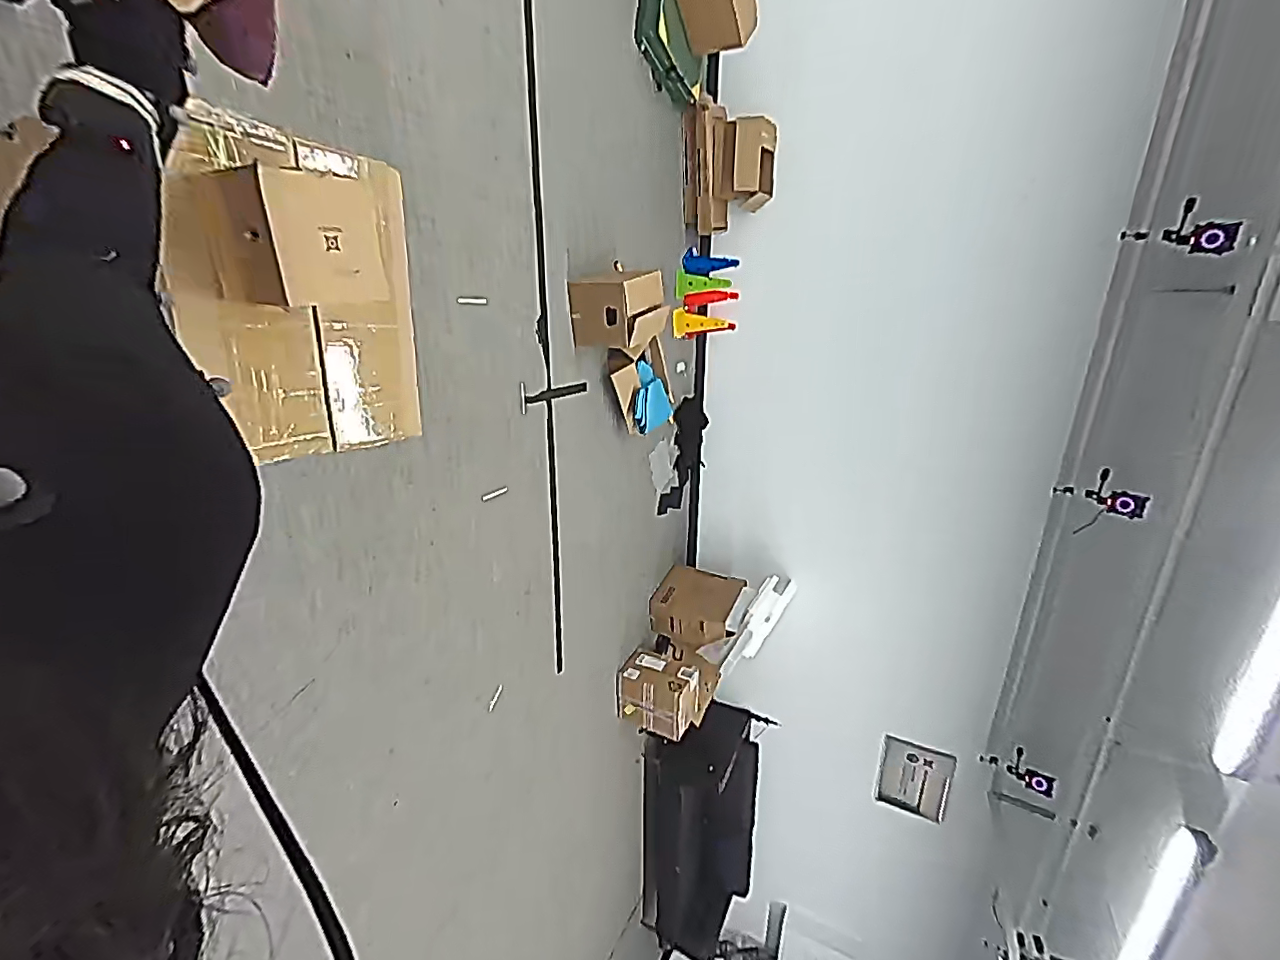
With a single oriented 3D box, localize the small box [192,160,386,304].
[{"bbox_3d":[-0.516,-0.358,0.804,0.168,0.176,0.179,-34,130,-54],"label":"small box"}]
